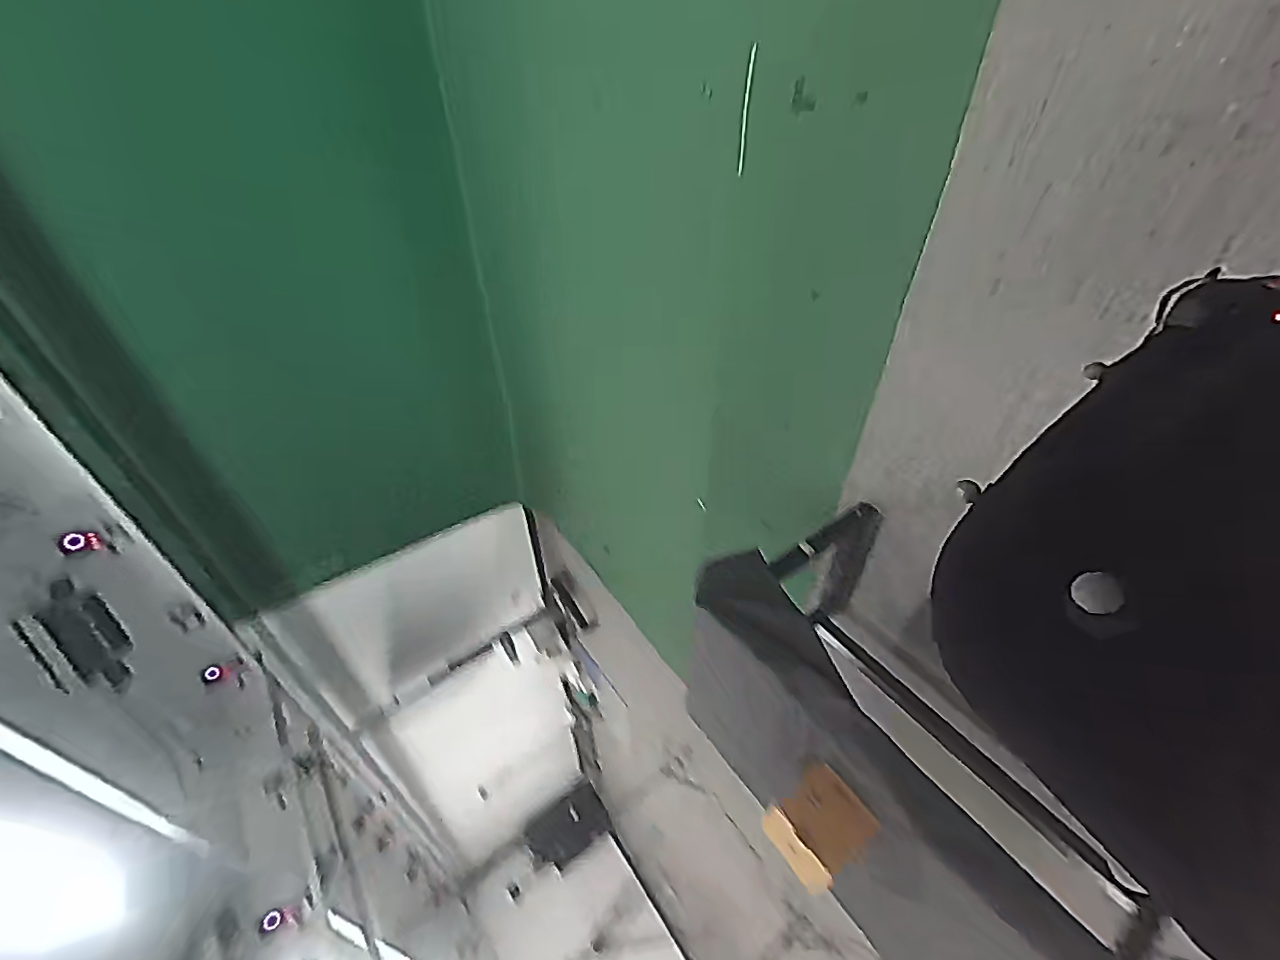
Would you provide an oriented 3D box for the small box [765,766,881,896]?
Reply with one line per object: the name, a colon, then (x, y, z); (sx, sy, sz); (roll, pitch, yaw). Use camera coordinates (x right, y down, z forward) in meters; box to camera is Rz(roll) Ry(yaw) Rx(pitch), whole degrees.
small box: (0.414, 0.789, 1.227); (0.168, 0.176, 0.179); (46, 150, 36)
